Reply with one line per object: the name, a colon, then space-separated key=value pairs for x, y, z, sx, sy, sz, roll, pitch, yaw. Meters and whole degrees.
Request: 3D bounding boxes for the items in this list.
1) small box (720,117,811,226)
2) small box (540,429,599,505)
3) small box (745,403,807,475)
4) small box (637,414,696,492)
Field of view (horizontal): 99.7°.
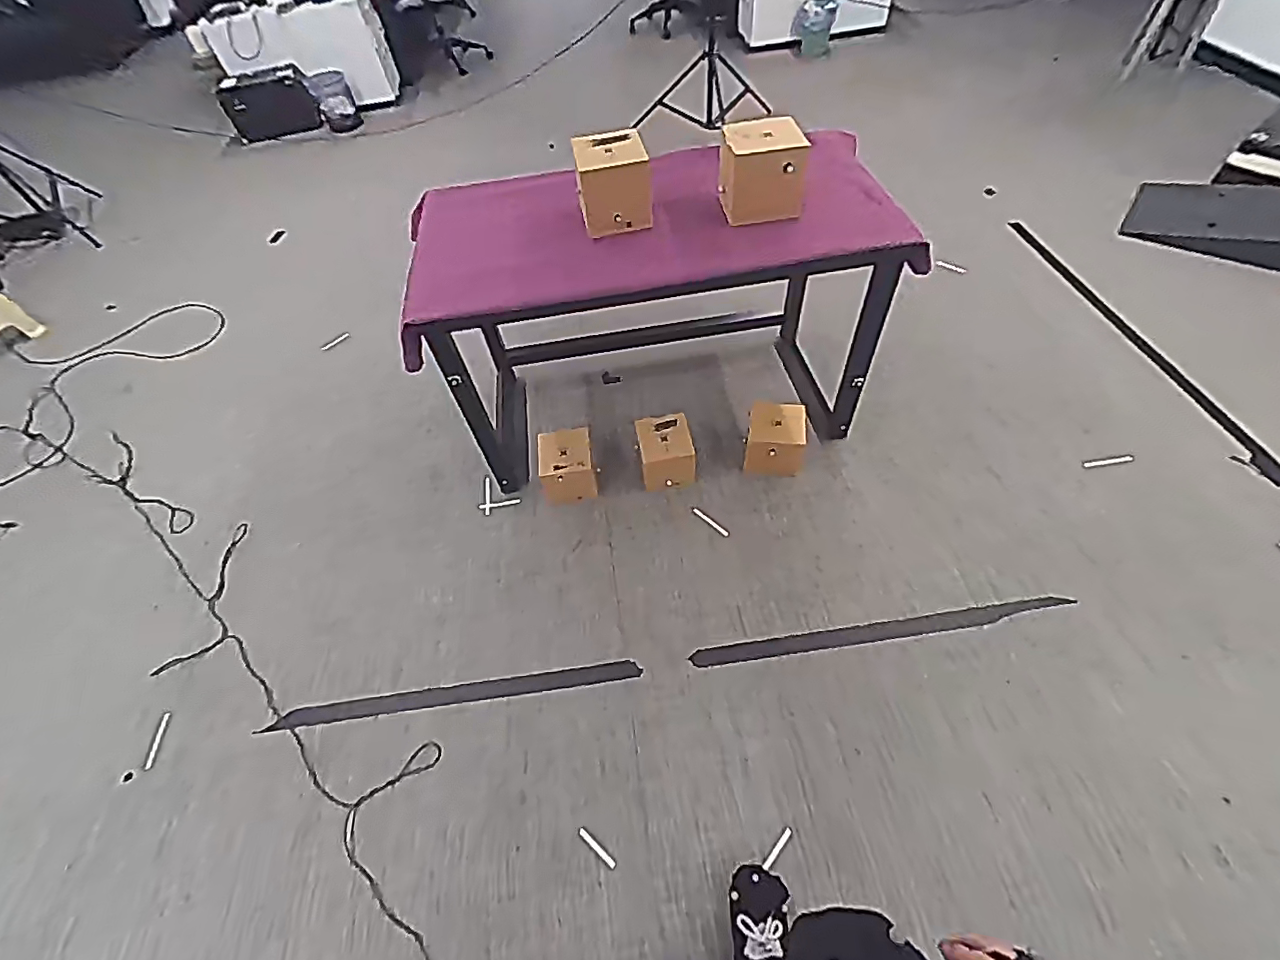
small box: x=0.297 y=-0.748 z=1.318 sx=0.179 sy=0.176 sz=0.168 roll=-8 pitch=53 yaw=1
small box: x=-0.228 y=-0.041 z=1.766 sx=0.168 sy=0.176 sz=0.179 roll=-8 pitch=53 yaw=0
small box: x=0.440 y=-0.129 z=1.761 sx=0.179 sy=0.176 sz=0.168 roll=4 pitch=55 yaw=10
small box: x=0.086 y=-0.086 z=1.765 sx=0.168 sy=0.176 sz=0.179 roll=-10 pitch=55 yaw=-1
